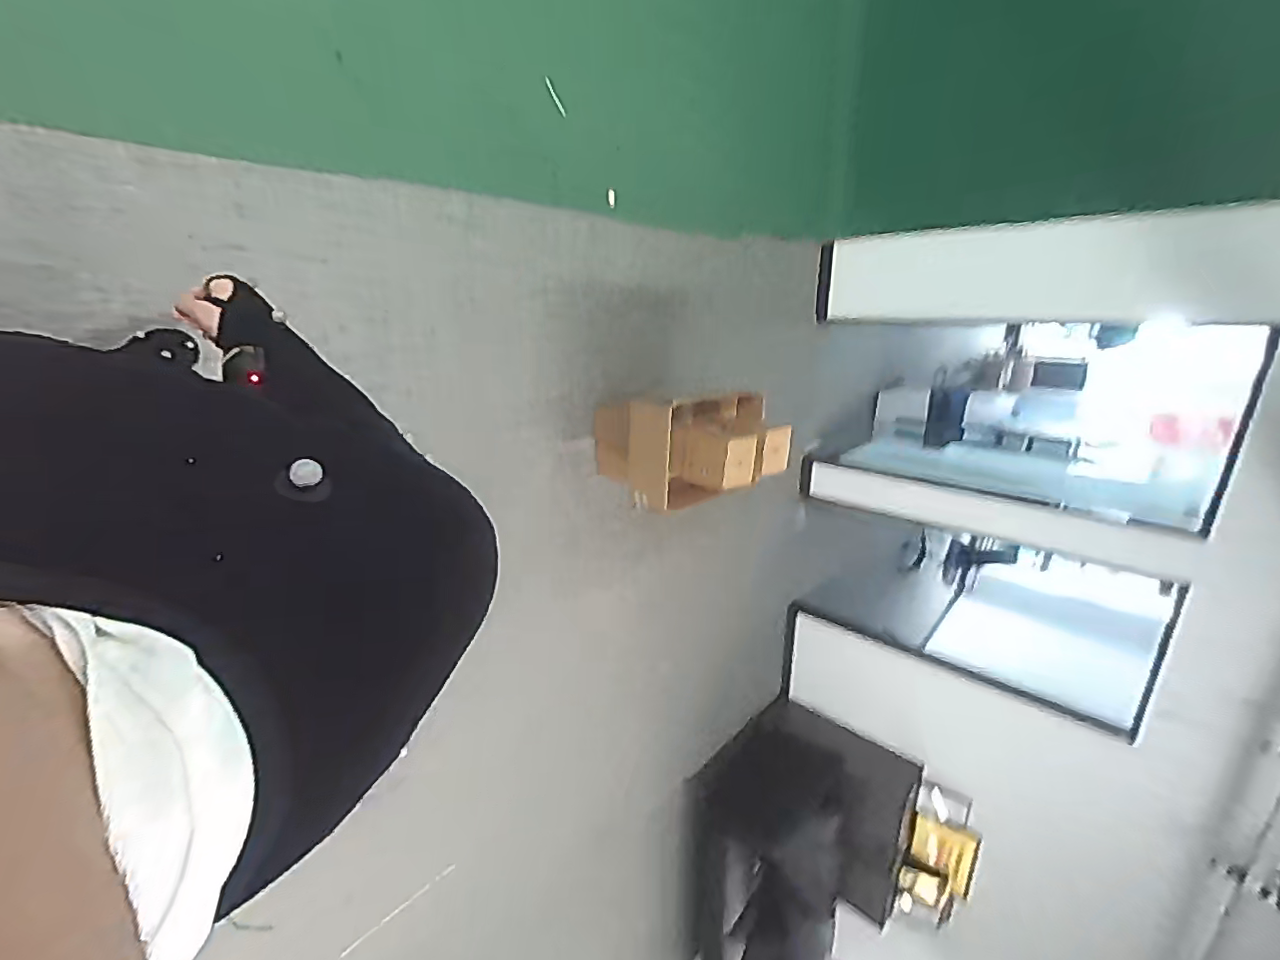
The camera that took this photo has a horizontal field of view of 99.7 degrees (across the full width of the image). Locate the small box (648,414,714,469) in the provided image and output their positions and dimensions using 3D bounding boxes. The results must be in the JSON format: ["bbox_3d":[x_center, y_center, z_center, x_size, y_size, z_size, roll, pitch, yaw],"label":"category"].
[{"bbox_3d":[0.143,-0.142,1.937,0.179,0.176,0.168,-14,114,-47],"label":"small box"}]

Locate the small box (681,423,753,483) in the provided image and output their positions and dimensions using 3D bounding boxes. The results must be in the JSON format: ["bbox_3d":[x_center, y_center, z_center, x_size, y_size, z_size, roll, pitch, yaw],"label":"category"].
[{"bbox_3d":[0.257,-0.096,1.829,0.179,0.176,0.168,-11,112,-47],"label":"small box"}]

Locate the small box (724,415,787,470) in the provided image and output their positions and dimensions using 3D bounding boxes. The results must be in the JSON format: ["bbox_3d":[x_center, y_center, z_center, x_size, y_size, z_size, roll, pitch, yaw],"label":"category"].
[{"bbox_3d":[0.421,-0.144,2.005,0.179,0.176,0.168,-13,113,-44],"label":"small box"}]
